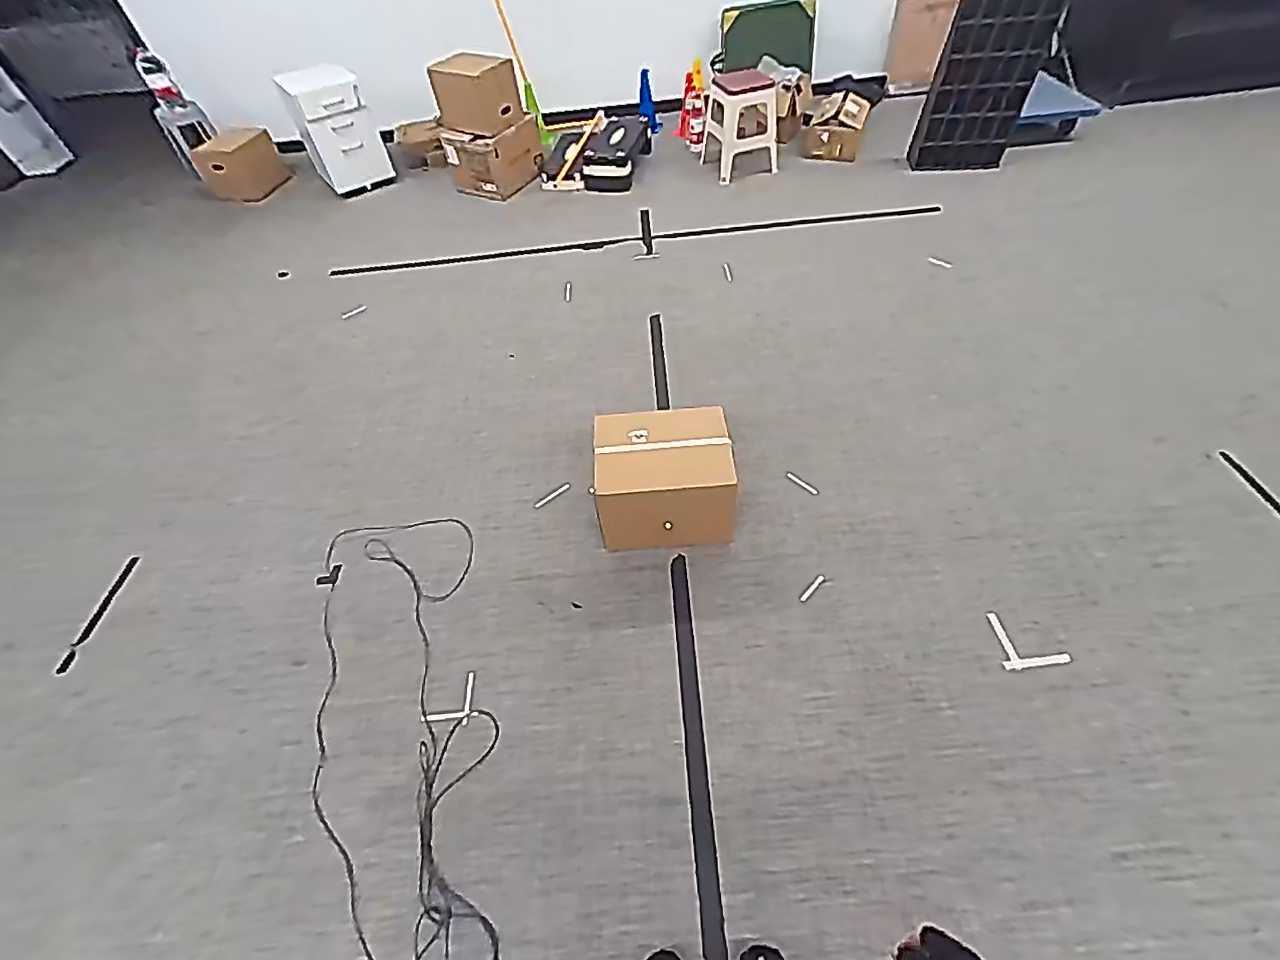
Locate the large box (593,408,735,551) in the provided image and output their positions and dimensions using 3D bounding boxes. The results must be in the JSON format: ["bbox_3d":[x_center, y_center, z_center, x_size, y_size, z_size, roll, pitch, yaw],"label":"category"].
[{"bbox_3d":[0.073,0.006,1.715,0.408,0.320,0.320,-5,51,2],"label":"large box"}]
